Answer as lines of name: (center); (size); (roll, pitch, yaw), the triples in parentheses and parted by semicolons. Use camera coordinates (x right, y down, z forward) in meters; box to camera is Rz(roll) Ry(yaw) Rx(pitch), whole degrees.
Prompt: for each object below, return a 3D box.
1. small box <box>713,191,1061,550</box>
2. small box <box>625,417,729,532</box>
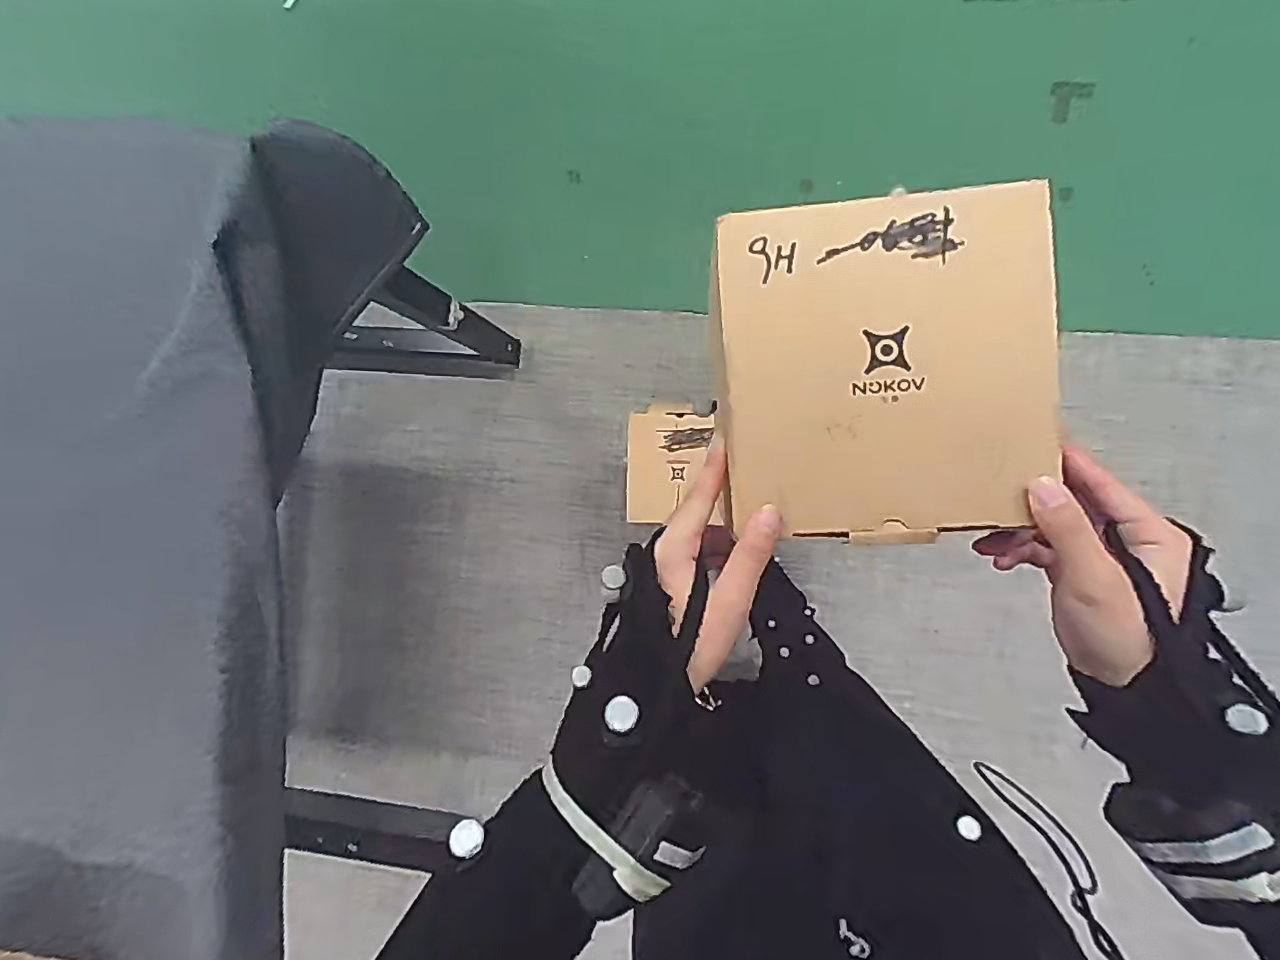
small box: (0.136, -0.056, 0.358); (0.168, 0.176, 0.179); (-3, 91, 6)
small box: (0.070, -0.010, 0.915); (0.168, 0.176, 0.179); (1, 91, 8)
